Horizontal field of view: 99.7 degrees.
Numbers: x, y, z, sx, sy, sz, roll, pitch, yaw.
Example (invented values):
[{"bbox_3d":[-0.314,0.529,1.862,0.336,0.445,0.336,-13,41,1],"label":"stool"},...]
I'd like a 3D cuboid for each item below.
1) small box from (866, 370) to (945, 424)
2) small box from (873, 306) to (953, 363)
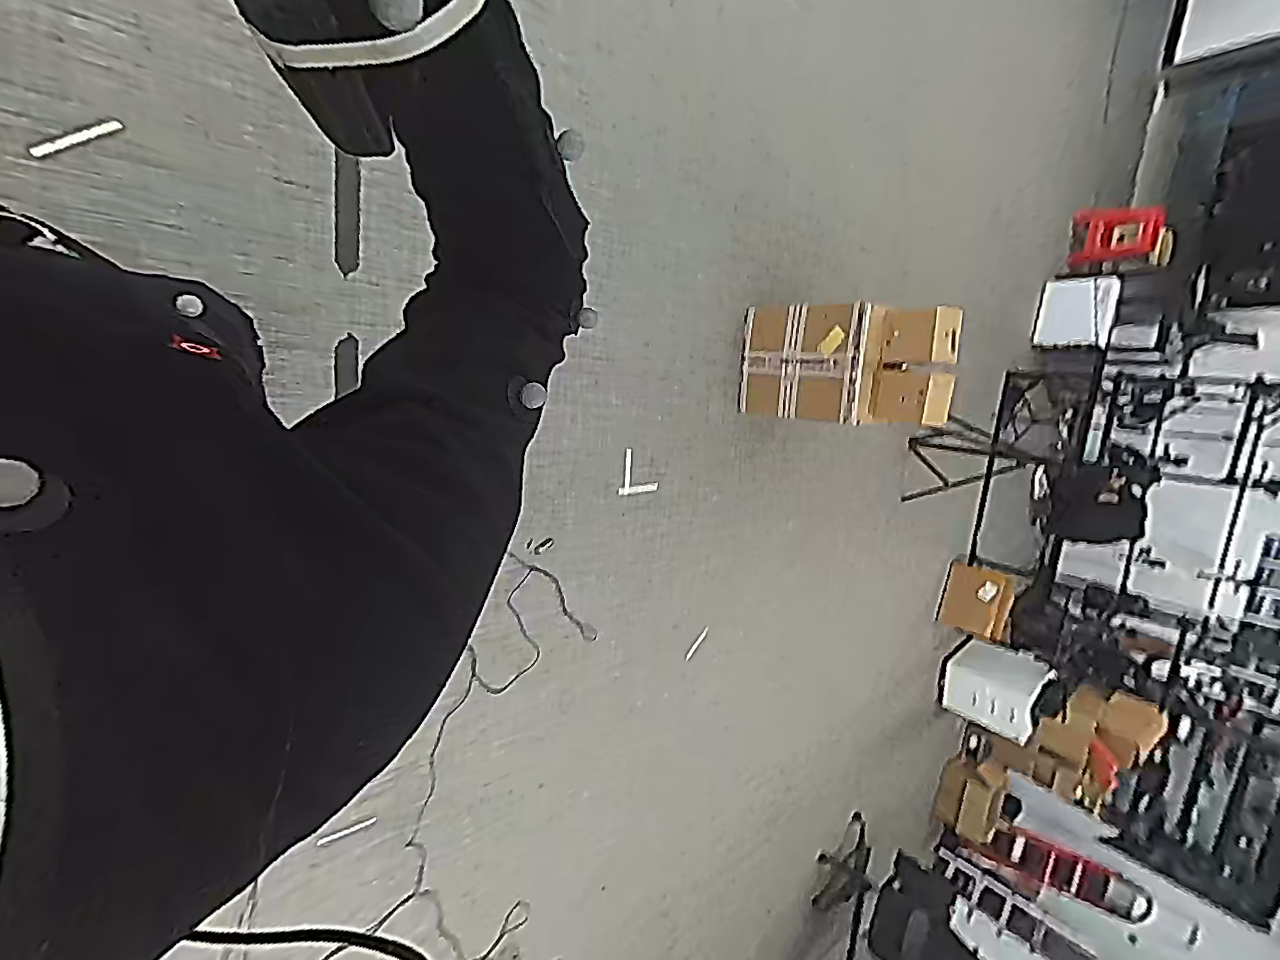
[{"bbox_3d":[0.896,-0.282,1.821,0.179,0.176,0.168,-6,108,-38],"label":"small box"},{"bbox_3d":[0.896,-0.473,1.776,0.179,0.176,0.168,-7,103,-37],"label":"small box"}]
